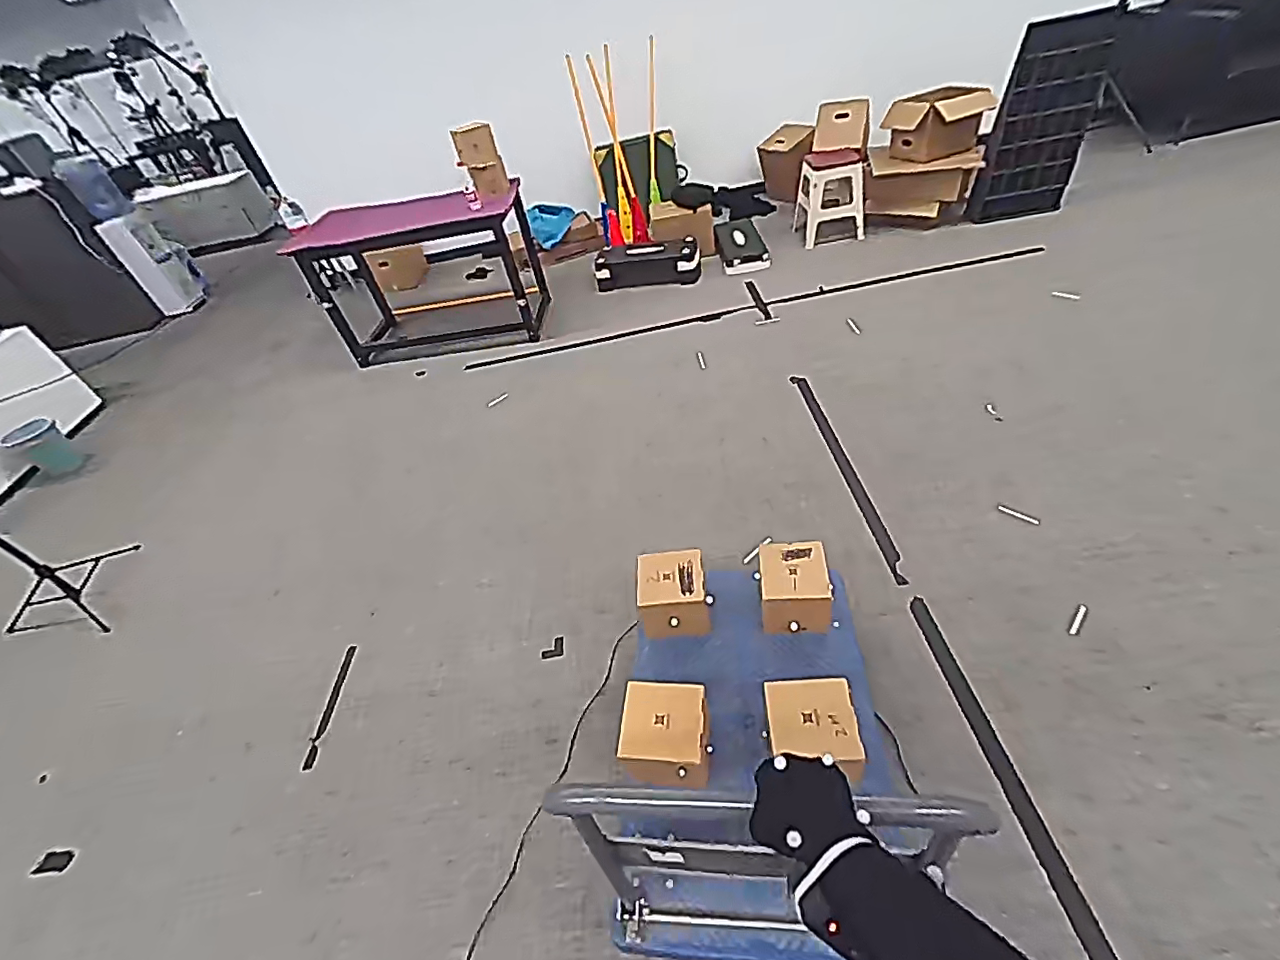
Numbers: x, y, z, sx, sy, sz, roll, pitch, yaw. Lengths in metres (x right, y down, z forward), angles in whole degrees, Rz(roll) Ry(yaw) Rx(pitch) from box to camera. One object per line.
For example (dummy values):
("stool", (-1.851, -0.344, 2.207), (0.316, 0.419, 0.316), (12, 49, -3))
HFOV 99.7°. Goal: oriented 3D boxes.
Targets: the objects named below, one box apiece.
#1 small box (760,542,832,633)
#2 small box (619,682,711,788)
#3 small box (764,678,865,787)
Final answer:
("small box", (0.404, 0.283, 1.426), (0.168, 0.176, 0.179), (-4, 45, 11))
("small box", (0.063, 0.572, 1.211), (0.179, 0.176, 0.168), (-2, 43, 11))
("small box", (0.368, 0.545, 1.159), (0.179, 0.176, 0.168), (-6, 43, 8))
